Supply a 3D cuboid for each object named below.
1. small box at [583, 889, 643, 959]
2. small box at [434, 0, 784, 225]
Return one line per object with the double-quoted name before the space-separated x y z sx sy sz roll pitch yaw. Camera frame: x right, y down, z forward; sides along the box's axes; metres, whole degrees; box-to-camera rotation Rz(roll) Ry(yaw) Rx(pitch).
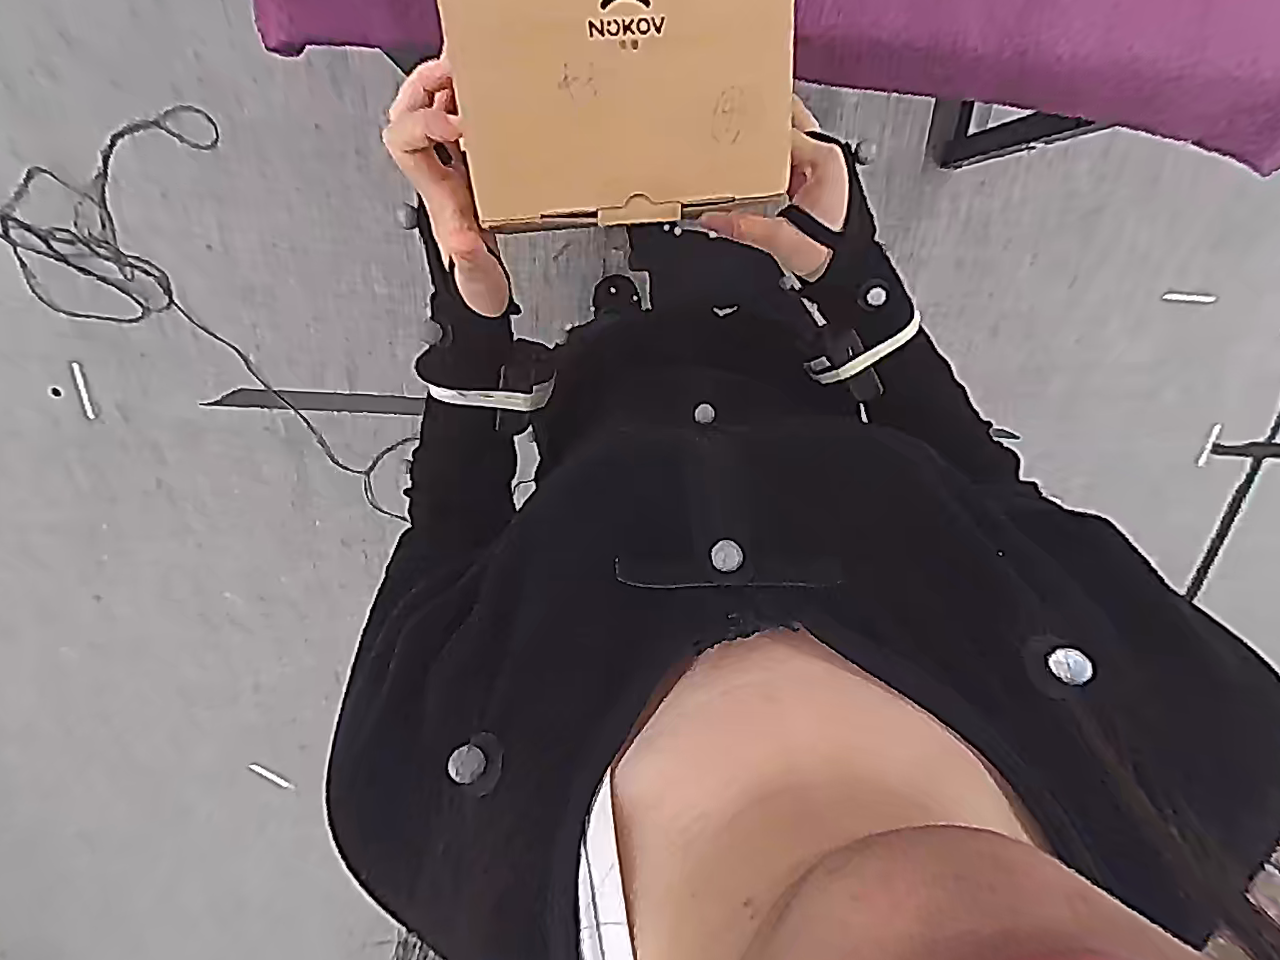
"small box" -0.087 1.418 1.693 0.179 0.176 0.168 1 111 -5
"small box" -0.025 -0.255 0.322 0.168 0.176 0.179 -9 115 -7
